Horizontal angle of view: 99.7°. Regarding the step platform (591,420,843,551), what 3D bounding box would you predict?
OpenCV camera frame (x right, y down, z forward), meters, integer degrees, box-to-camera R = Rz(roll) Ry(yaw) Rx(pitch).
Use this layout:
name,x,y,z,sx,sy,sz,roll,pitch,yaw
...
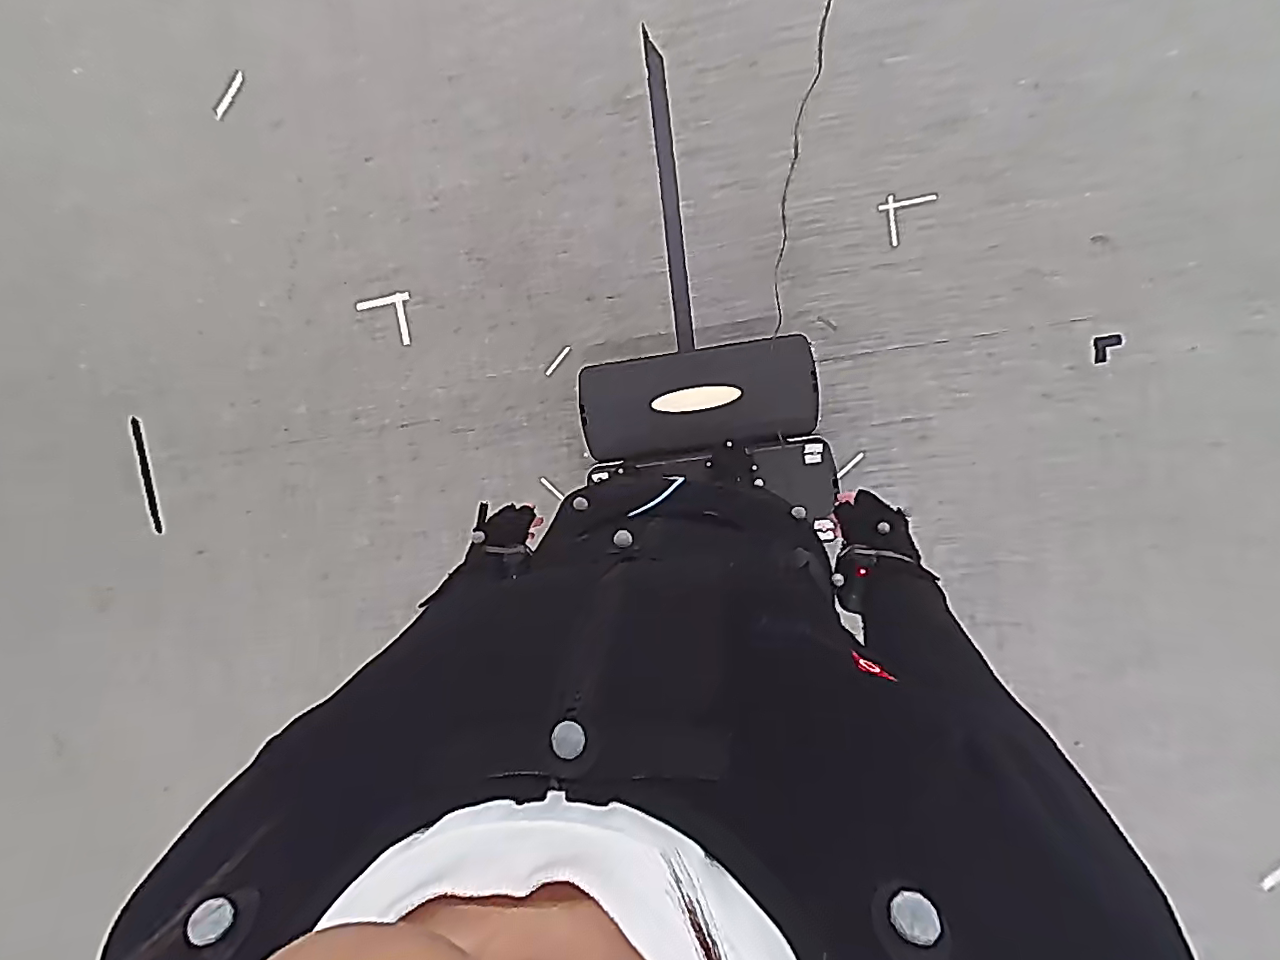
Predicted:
name,x,y,z,sx,sy,sz,roll,pitch,yaw
step platform,0.206,0.018,1.519,0.684,0.204,0.286,-8,94,8
